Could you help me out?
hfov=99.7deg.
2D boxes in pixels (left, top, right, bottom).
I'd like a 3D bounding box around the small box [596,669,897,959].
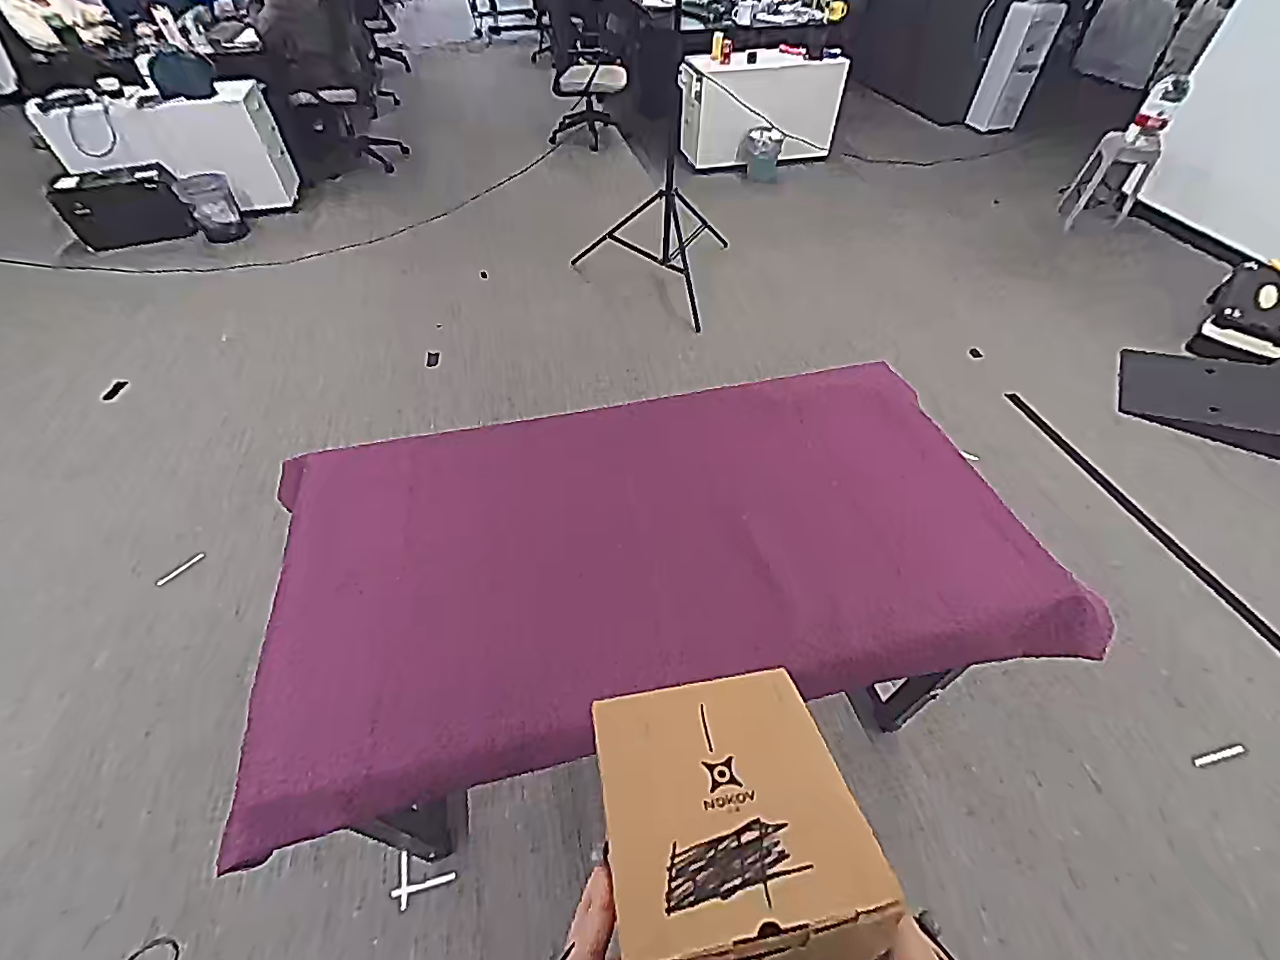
[{"bbox_3d":[0.062,0.282,0.414,0.168,0.176,0.179,-7,29,-8],"label":"small box"}]
